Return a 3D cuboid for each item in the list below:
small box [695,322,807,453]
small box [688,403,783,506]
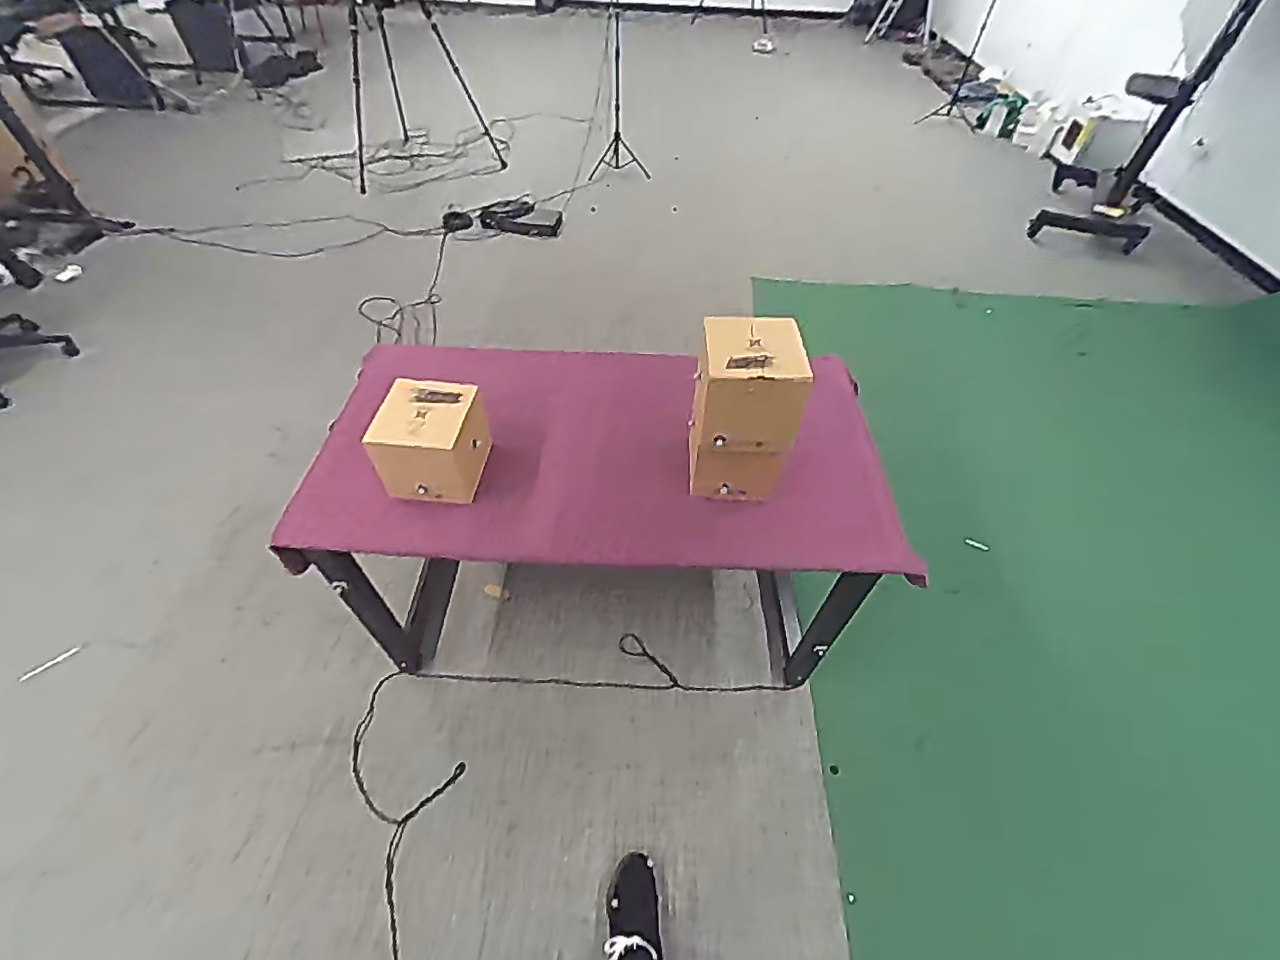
[{"bbox_3d":[0.188,-0.162,0.966,0.168,0.176,0.179,1,48,1],"label":"small box"},{"bbox_3d":[0.186,-0.070,1.103,0.168,0.176,0.179,3,49,2],"label":"small box"}]
